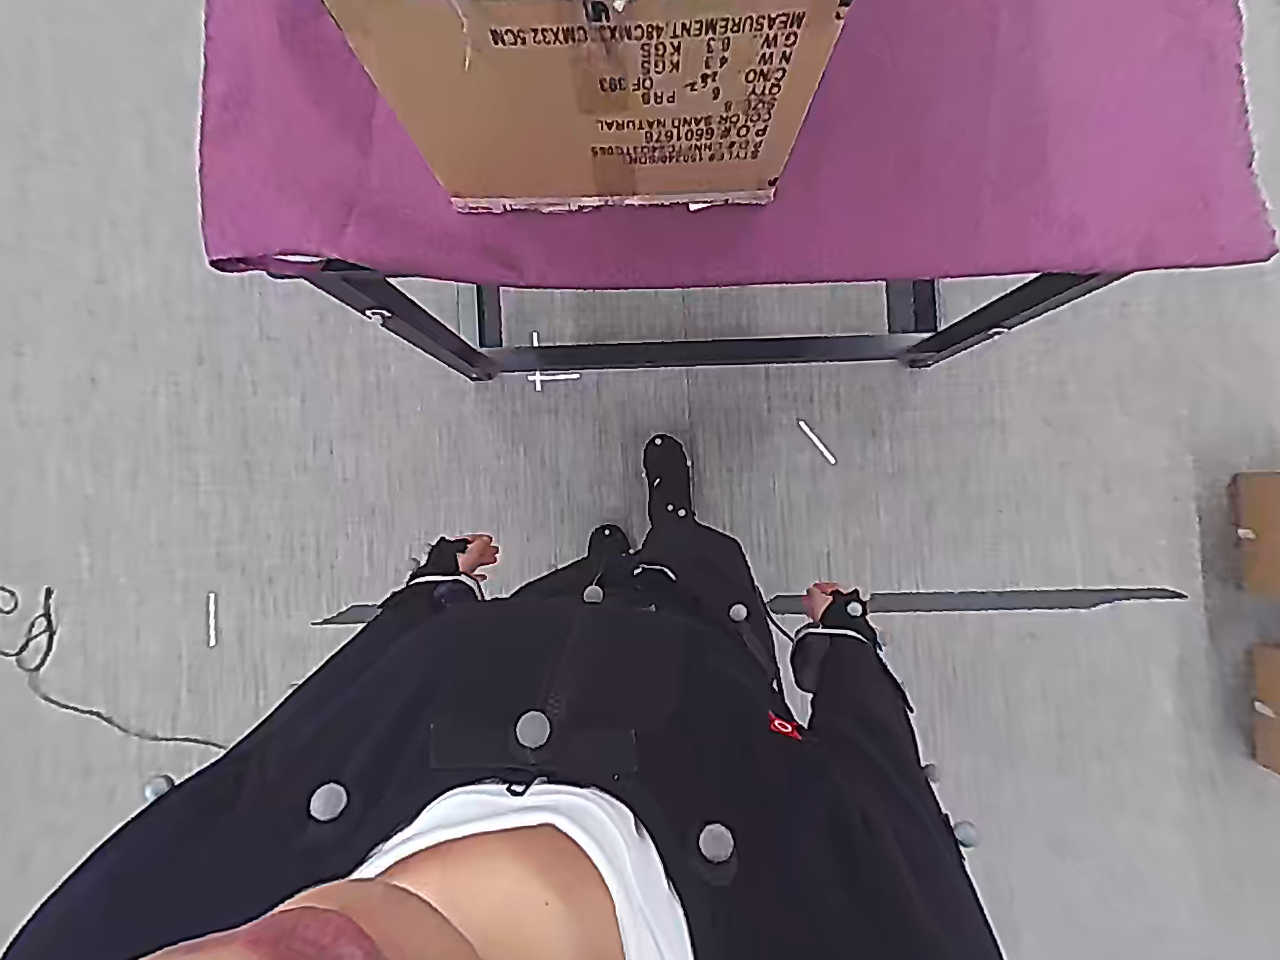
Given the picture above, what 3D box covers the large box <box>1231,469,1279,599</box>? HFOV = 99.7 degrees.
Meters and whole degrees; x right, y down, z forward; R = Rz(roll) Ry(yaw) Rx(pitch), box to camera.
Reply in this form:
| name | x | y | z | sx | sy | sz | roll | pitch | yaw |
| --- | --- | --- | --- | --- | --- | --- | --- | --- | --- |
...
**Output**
| name | x | y | z | sx | sy | sz | roll | pitch | yaw |
| --- | --- | --- | --- | --- | --- | --- | --- | --- | --- |
| large box | 1.692 | 0.118 | 1.207 | 0.408 | 0.320 | 0.320 | -3 | 88 | 2 |
